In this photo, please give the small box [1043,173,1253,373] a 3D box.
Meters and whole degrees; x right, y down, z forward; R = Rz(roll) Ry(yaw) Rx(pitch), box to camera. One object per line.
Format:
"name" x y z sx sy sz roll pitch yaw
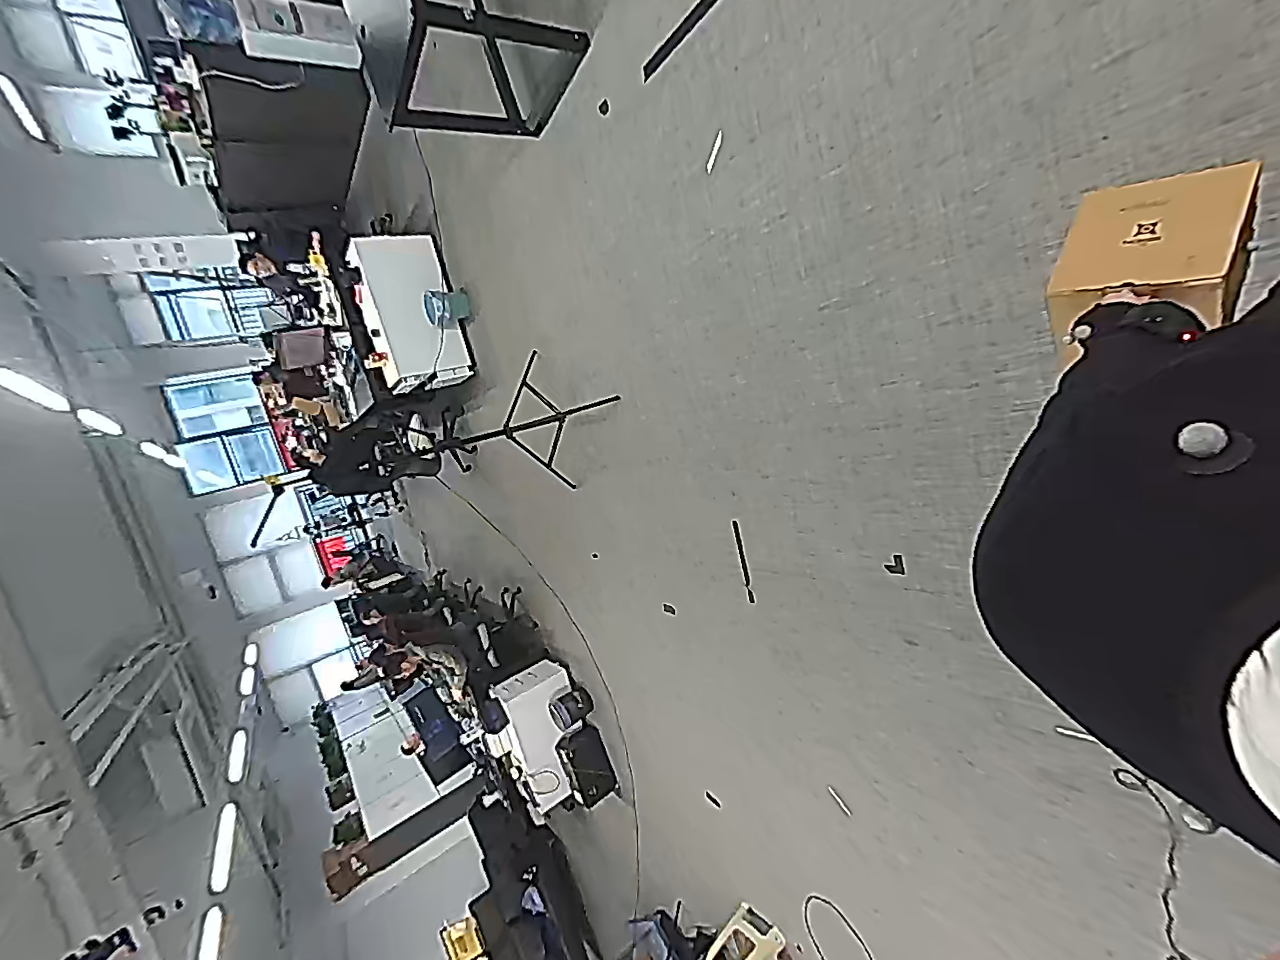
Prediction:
"small box" 0.673 -0.259 0.722 0.168 0.179 0.176 15 160 48
